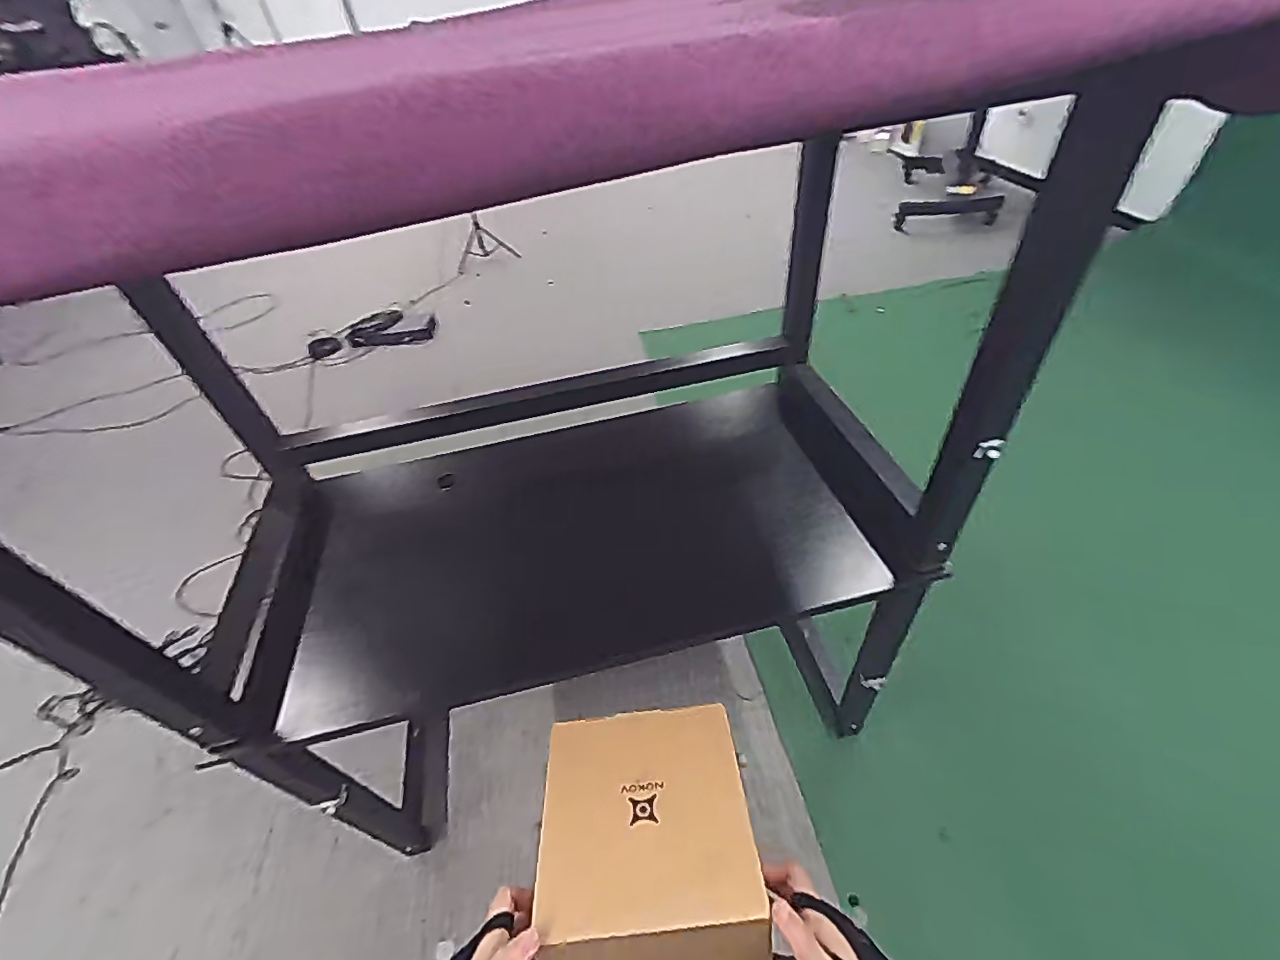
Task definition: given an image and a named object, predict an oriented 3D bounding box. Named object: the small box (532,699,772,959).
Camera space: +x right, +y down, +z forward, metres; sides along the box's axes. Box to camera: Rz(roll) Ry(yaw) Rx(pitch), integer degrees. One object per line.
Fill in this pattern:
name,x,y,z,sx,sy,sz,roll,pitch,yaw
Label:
small box,0.013,0.324,0.466,0.168,0.176,0.179,-6,27,0
